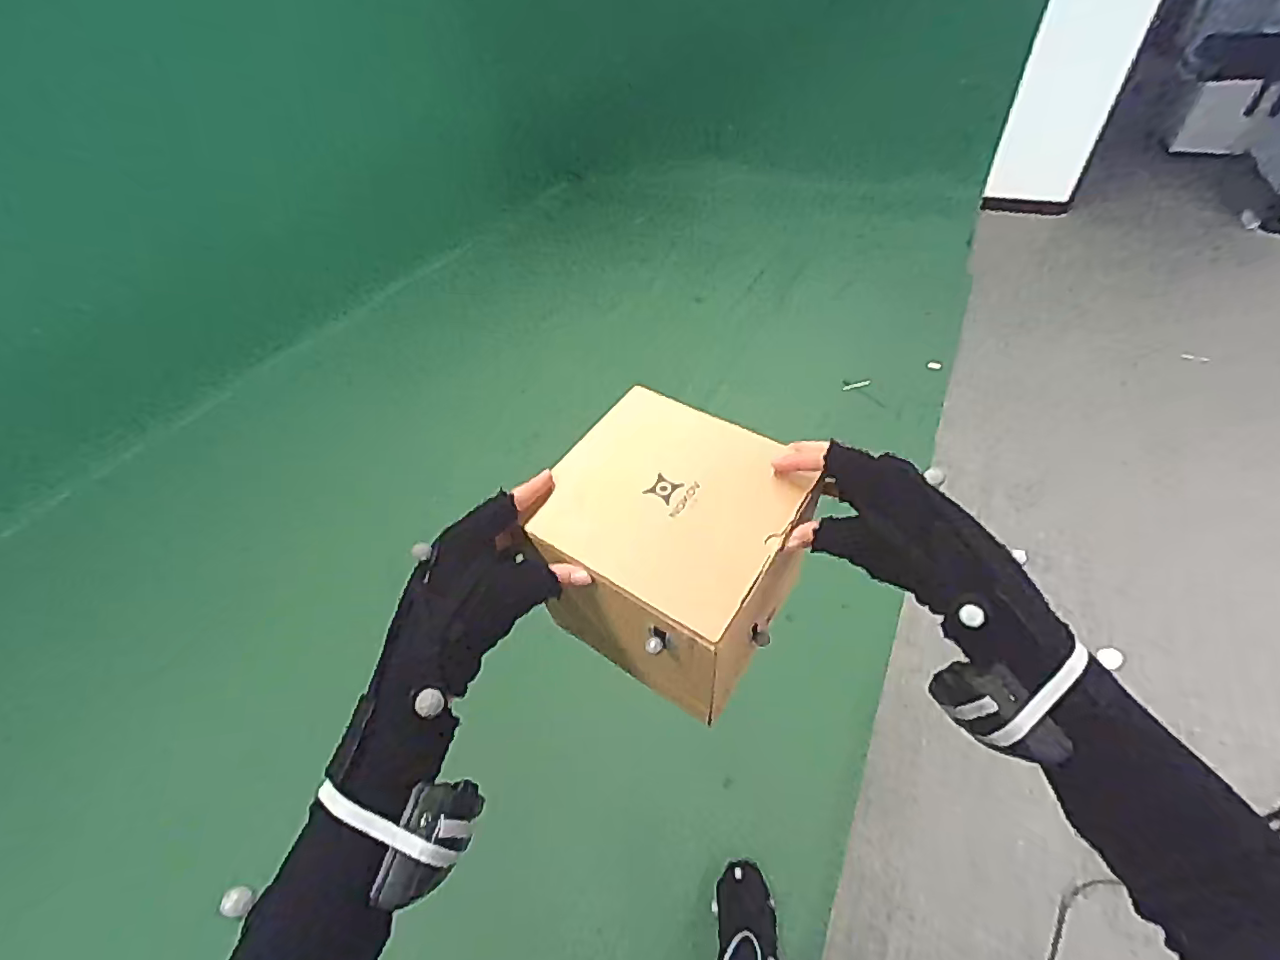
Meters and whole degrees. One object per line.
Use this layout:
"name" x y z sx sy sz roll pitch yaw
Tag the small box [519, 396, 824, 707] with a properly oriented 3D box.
"small box" 0.029 0.063 0.465 0.179 0.176 0.168 27 57 24
